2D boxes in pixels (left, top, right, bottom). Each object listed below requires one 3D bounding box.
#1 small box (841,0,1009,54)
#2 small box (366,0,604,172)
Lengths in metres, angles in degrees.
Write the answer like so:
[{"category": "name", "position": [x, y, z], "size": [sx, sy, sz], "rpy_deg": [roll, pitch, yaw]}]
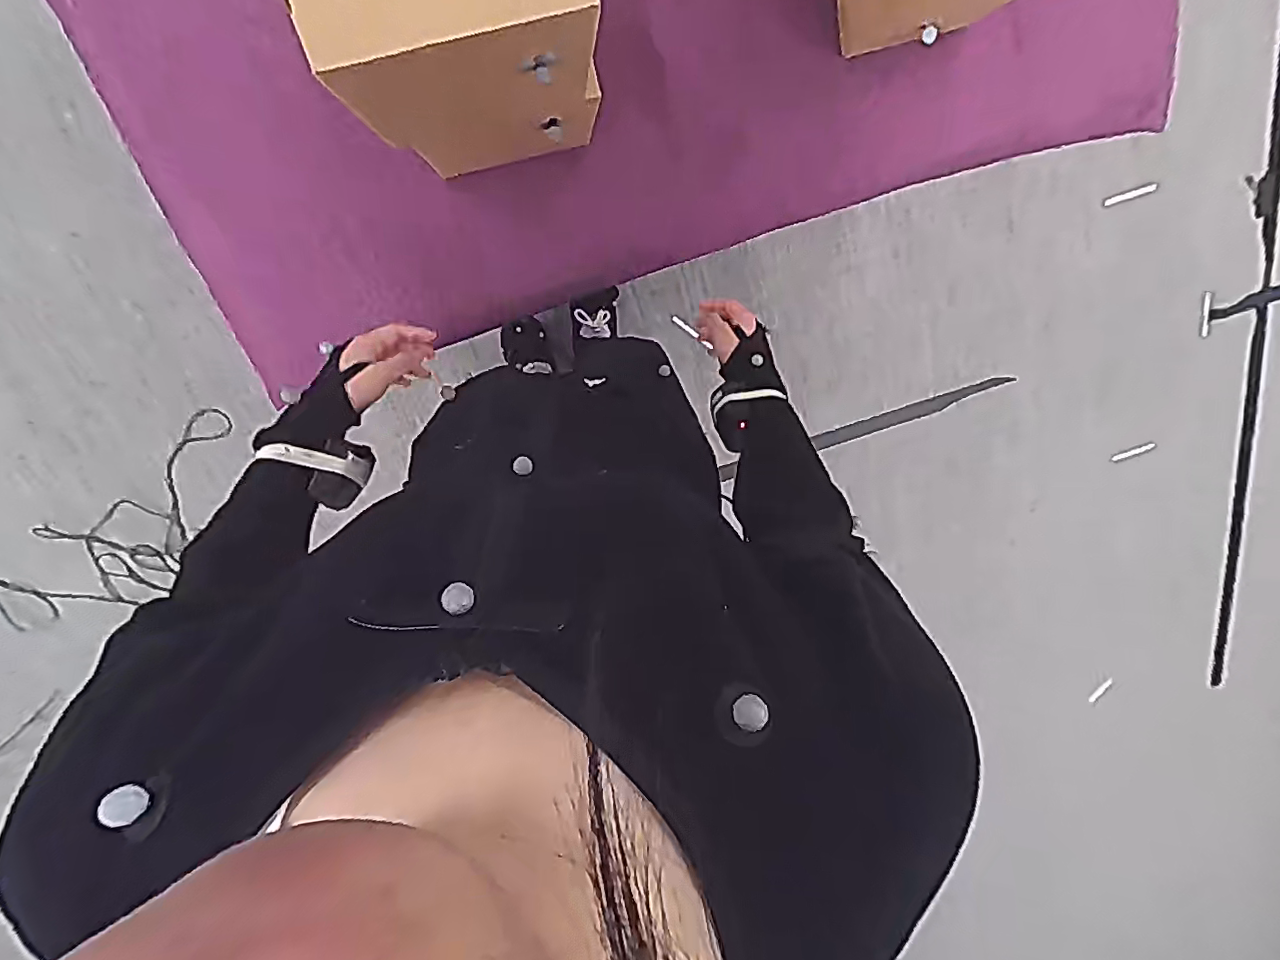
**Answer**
[{"category": "small box", "position": [0.308, -0.569, 0.531], "size": [0.168, 0.176, 0.179], "rpy_deg": [-16, 111, -2]}, {"category": "small box", "position": [-0.144, -0.416, 0.516], "size": [0.179, 0.176, 0.168], "rpy_deg": [-15, 110, -3]}]
